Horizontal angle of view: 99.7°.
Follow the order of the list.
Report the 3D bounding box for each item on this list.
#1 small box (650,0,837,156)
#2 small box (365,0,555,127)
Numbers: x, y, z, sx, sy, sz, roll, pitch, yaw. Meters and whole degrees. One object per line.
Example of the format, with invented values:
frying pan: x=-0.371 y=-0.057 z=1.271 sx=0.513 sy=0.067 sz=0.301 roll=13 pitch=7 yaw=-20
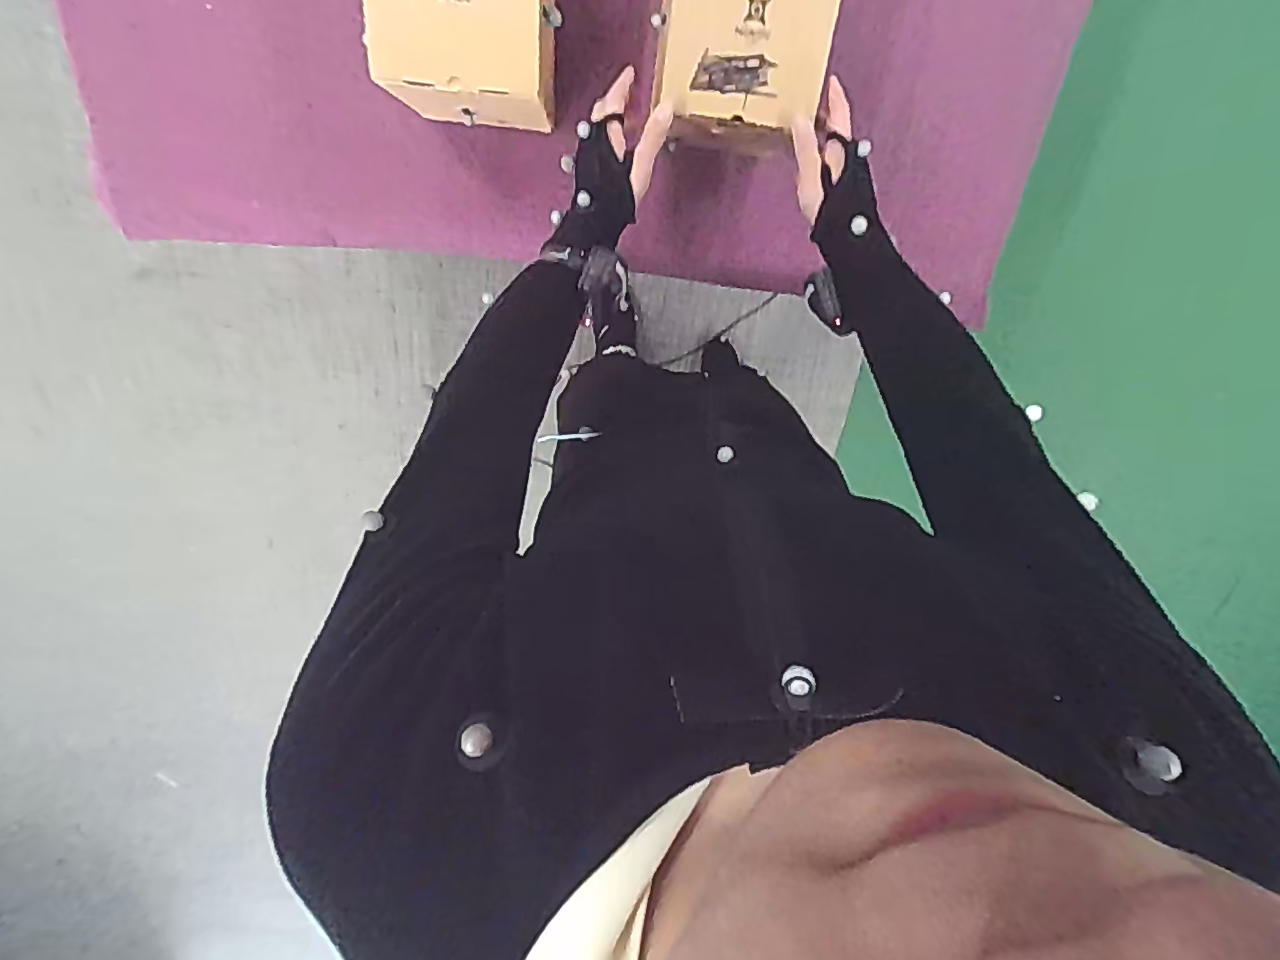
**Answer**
small box: x=0.104 y=-0.481 z=0.606 sx=0.168 sy=0.176 sz=0.179 roll=5 pitch=113 yaw=-6
small box: x=-0.181 y=-0.502 z=0.578 sx=0.168 sy=0.176 sz=0.179 roll=3 pitch=115 yaw=-6
